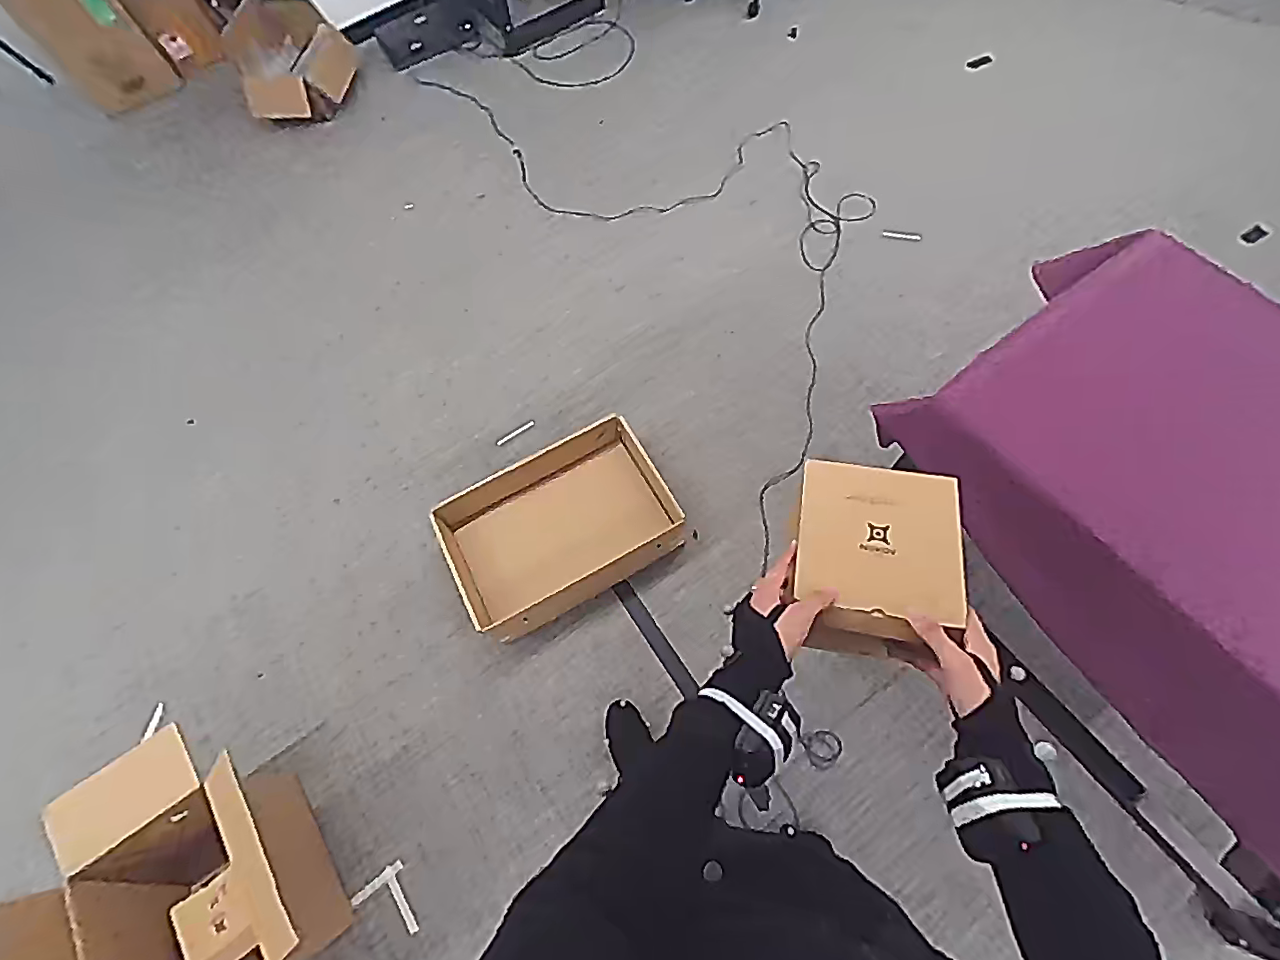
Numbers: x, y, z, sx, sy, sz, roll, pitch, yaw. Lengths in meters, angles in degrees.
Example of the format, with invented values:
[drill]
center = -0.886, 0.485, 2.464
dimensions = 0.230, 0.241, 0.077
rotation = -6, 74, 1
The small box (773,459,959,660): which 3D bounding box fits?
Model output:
[small box]
center = 0.255, 0.100, 0.641
dimensions = 0.168, 0.176, 0.179
rotation = 8, 61, 11
